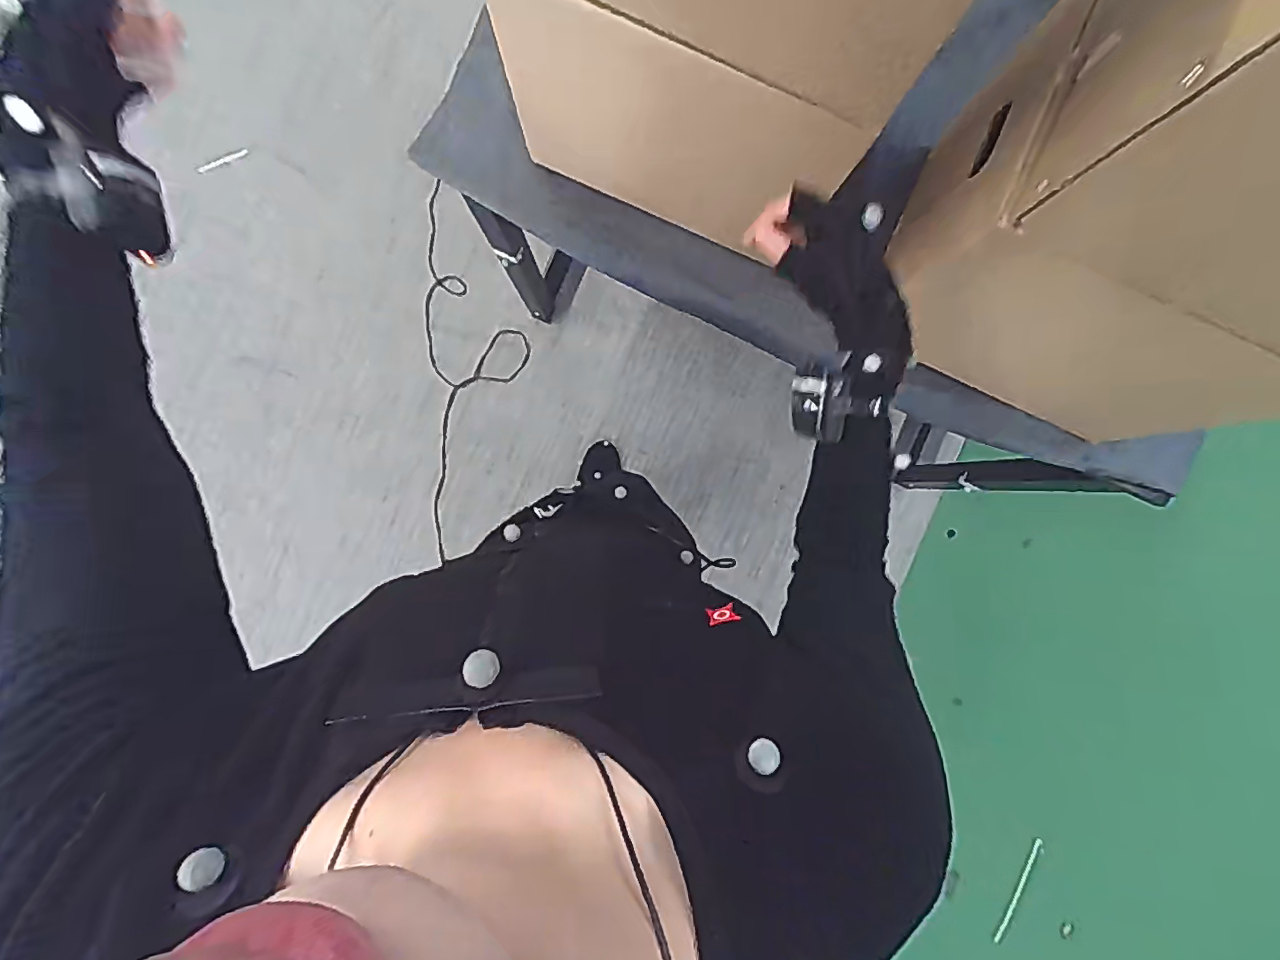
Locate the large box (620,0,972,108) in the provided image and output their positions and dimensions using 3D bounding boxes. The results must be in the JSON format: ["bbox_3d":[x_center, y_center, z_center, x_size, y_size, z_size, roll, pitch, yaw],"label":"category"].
[{"bbox_3d":[0.099,-0.536,0.331,0.408,0.320,0.320,24,89,-1],"label":"large box"}]
